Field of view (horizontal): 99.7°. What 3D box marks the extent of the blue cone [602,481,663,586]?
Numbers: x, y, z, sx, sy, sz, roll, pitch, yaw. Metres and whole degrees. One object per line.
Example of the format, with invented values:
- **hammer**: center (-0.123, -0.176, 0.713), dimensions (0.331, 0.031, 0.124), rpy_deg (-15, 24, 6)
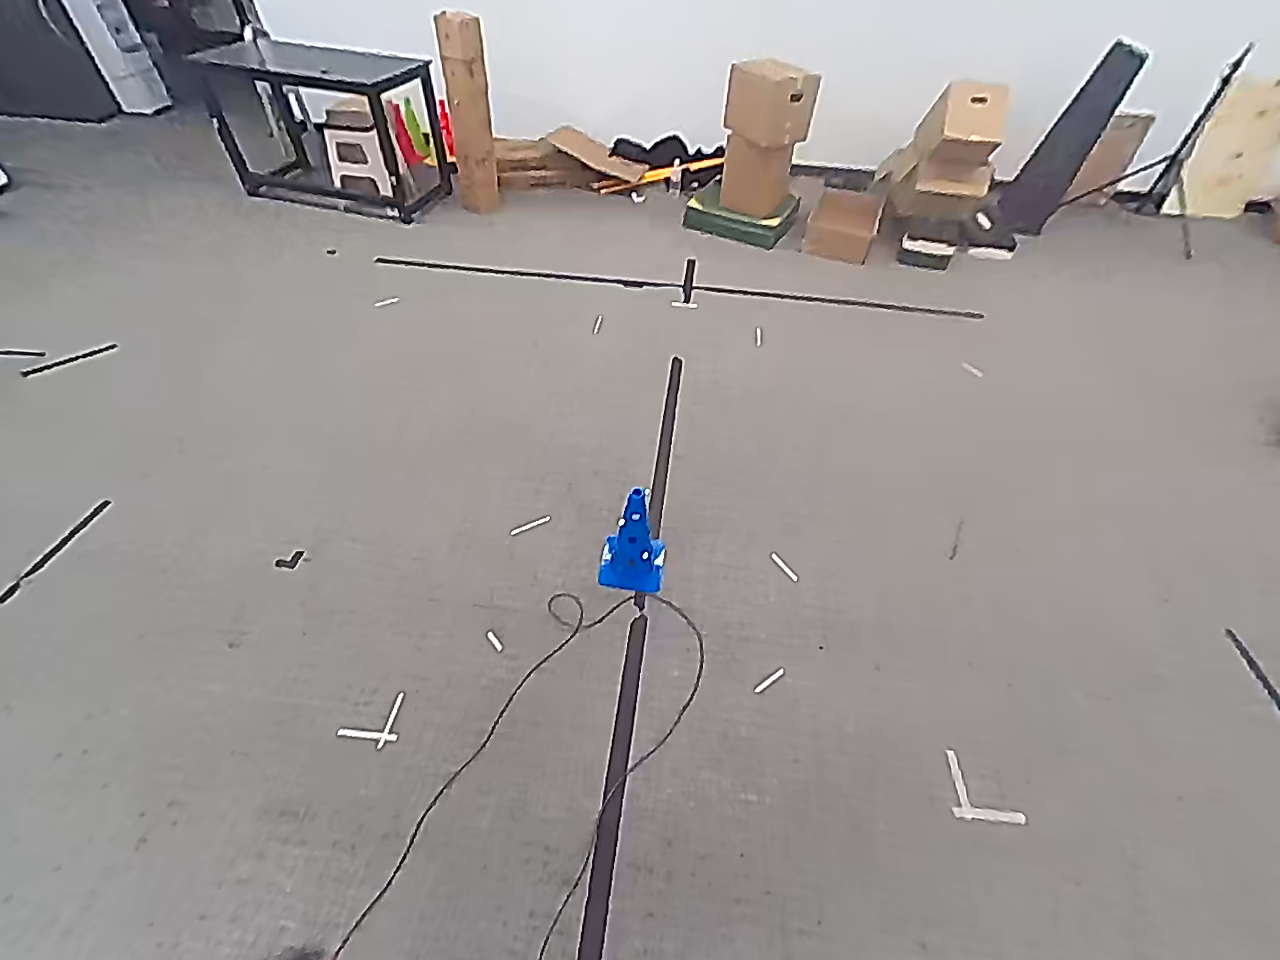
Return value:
- **blue cone**: center (-0.018, 0.145, 1.615), dimensions (0.193, 0.380, 0.192), rpy_deg (6, 48, 3)
